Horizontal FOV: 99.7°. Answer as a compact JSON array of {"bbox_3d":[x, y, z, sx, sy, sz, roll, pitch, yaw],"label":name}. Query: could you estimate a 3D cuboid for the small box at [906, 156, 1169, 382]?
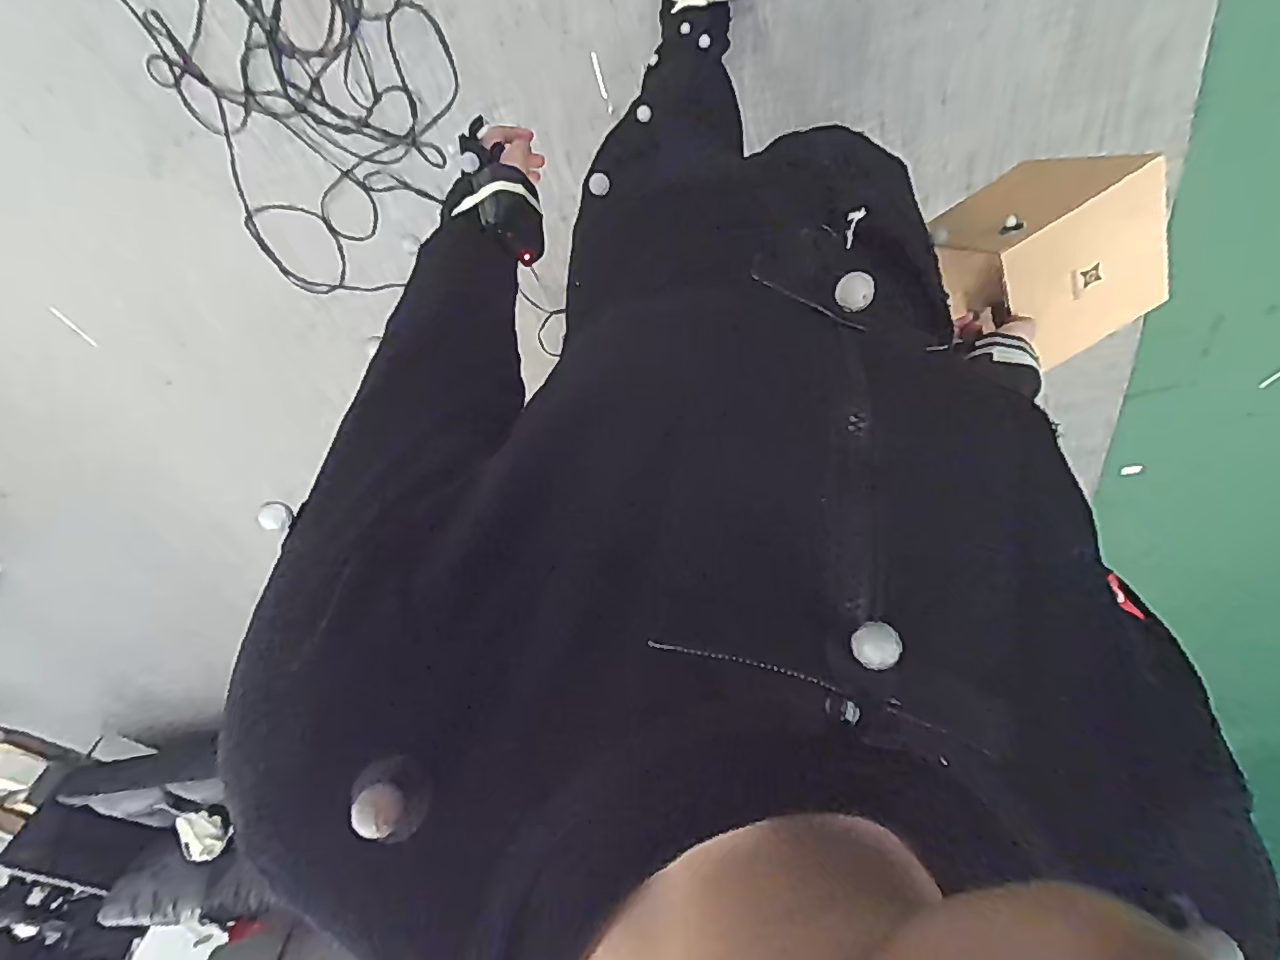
[{"bbox_3d":[0.453,-0.250,0.632,0.179,0.176,0.168,-32,121,7],"label":"small box"}]
